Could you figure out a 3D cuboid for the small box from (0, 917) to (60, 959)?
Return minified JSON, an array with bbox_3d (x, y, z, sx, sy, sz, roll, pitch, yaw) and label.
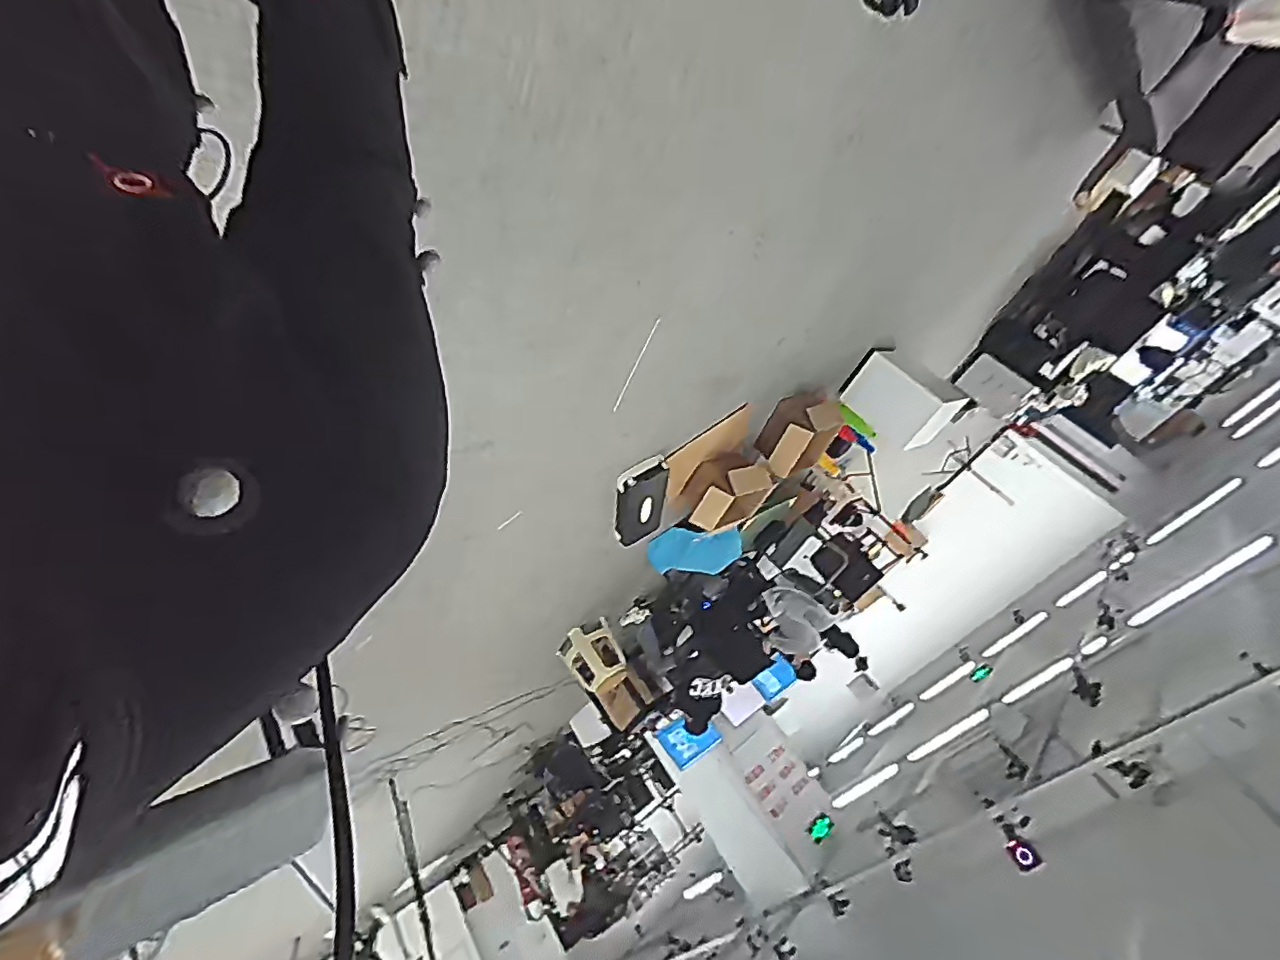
[{"bbox_3d":[-1.302,1.041,1.087,0.179,0.176,0.168,-12,144,-45],"label":"small box"}]
